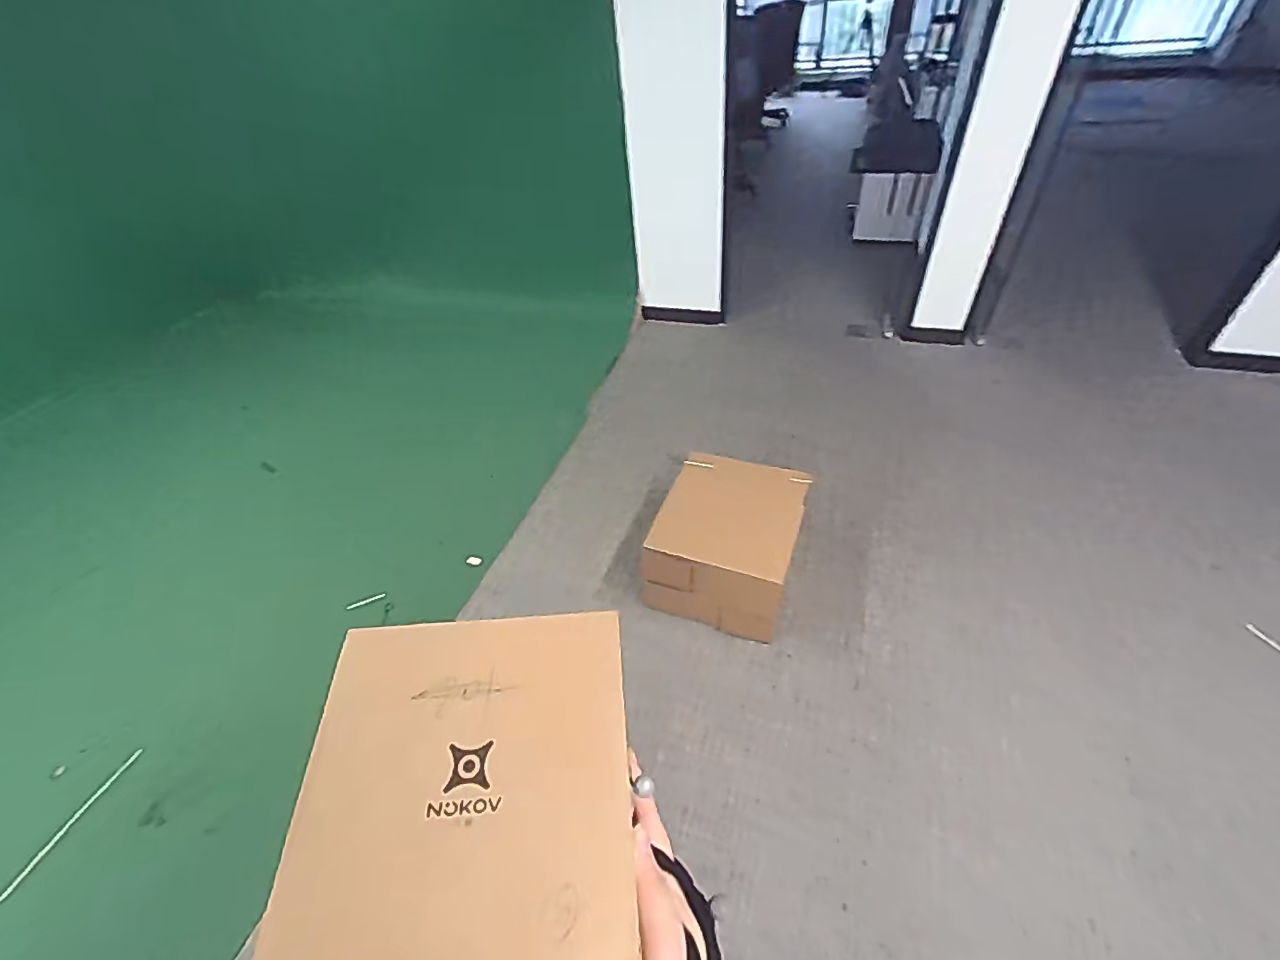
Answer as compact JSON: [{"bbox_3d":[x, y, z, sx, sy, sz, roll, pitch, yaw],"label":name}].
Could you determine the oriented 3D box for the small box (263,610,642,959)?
[{"bbox_3d":[-0.085,0.202,0.339,0.168,0.176,0.179,-2,49,-4],"label":"small box"}]
